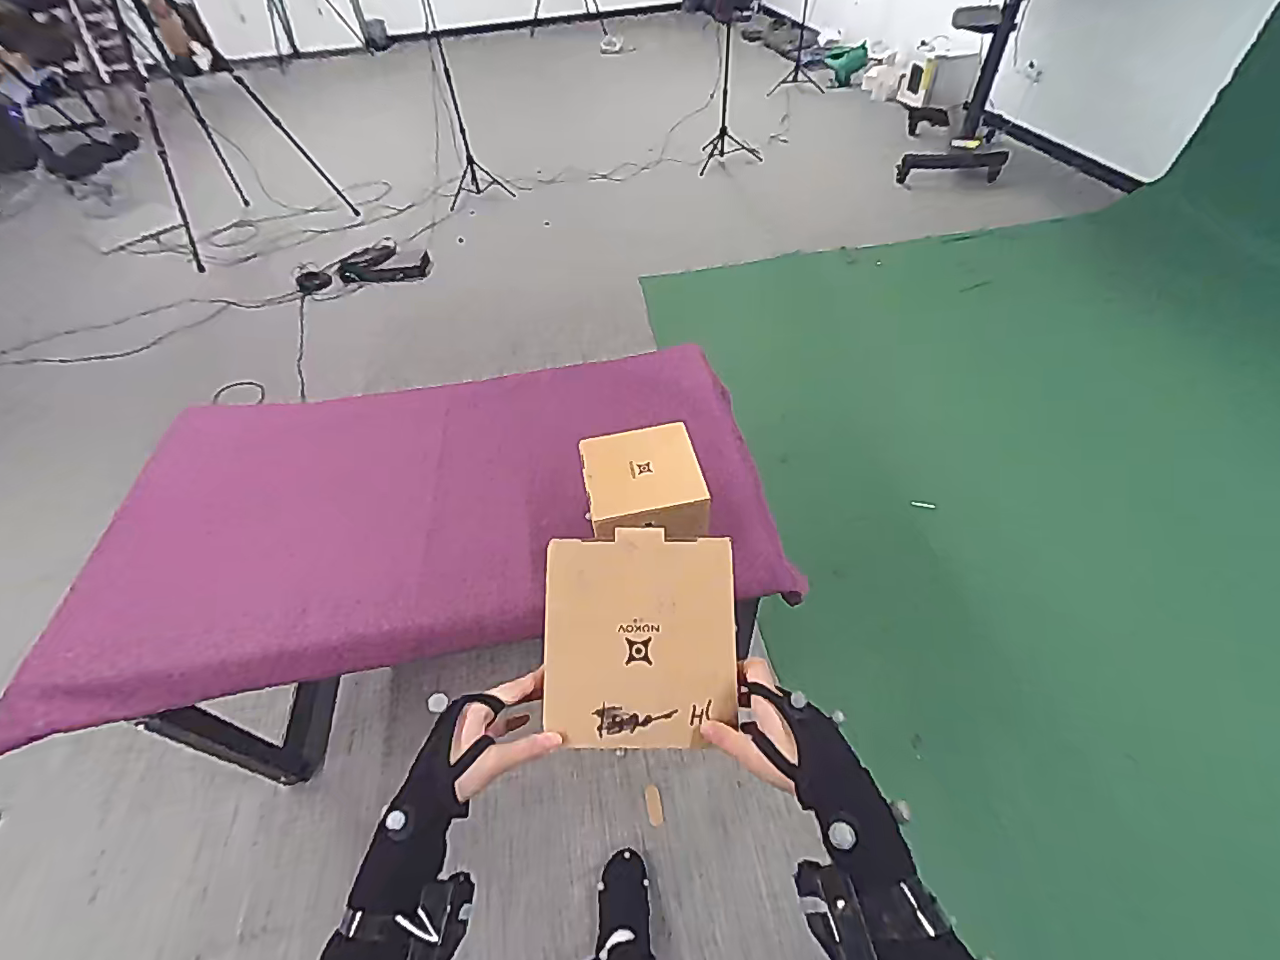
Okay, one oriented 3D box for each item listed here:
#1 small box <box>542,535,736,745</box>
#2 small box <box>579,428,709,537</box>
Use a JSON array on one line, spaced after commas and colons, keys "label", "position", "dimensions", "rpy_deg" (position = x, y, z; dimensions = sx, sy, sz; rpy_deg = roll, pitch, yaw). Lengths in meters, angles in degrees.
[{"label": "small box", "position": [0.002, 0.153, 0.547], "dimensions": [0.168, 0.176, 0.179], "rpy_deg": [-1, 78, 3]}, {"label": "small box", "position": [0.007, 0.044, 0.887], "dimensions": [0.179, 0.176, 0.168], "rpy_deg": [-13, 50, -3]}]
